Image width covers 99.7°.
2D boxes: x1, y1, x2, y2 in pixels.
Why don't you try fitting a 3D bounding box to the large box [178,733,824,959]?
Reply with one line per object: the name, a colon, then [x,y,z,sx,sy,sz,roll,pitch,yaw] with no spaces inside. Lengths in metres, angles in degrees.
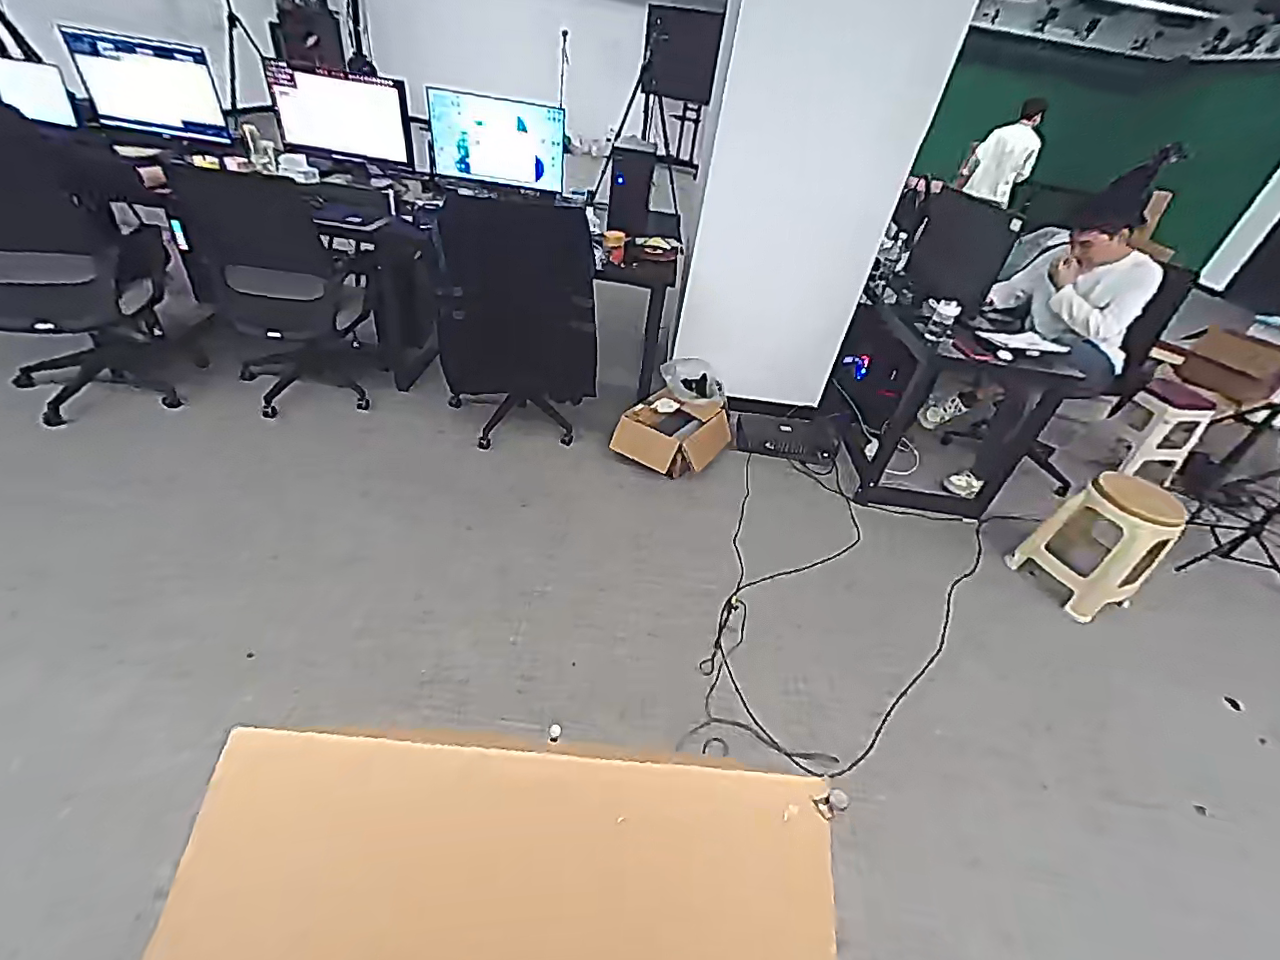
large box: [-0.096,0.394,0.455,0.408,0.320,0.320,6,66,-2]
